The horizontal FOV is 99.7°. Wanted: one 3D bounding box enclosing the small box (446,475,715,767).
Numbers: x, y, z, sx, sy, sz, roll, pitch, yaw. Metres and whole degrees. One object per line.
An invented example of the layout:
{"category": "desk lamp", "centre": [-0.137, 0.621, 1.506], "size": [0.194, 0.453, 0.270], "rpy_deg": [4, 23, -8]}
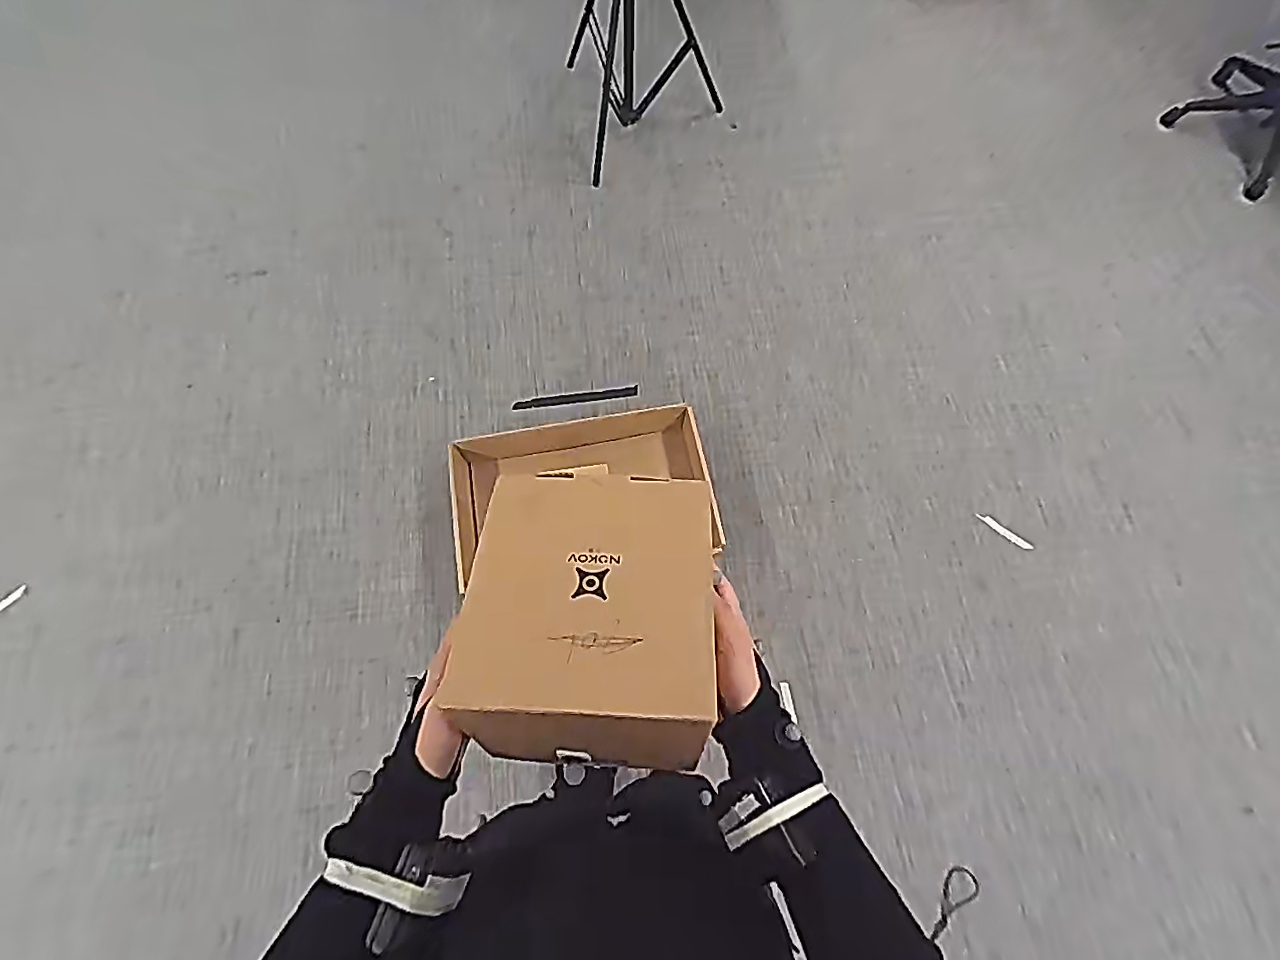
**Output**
{"category": "small box", "centre": [-0.033, 0.116, 0.435], "size": [0.168, 0.176, 0.179], "rpy_deg": [1, 53, 2]}
